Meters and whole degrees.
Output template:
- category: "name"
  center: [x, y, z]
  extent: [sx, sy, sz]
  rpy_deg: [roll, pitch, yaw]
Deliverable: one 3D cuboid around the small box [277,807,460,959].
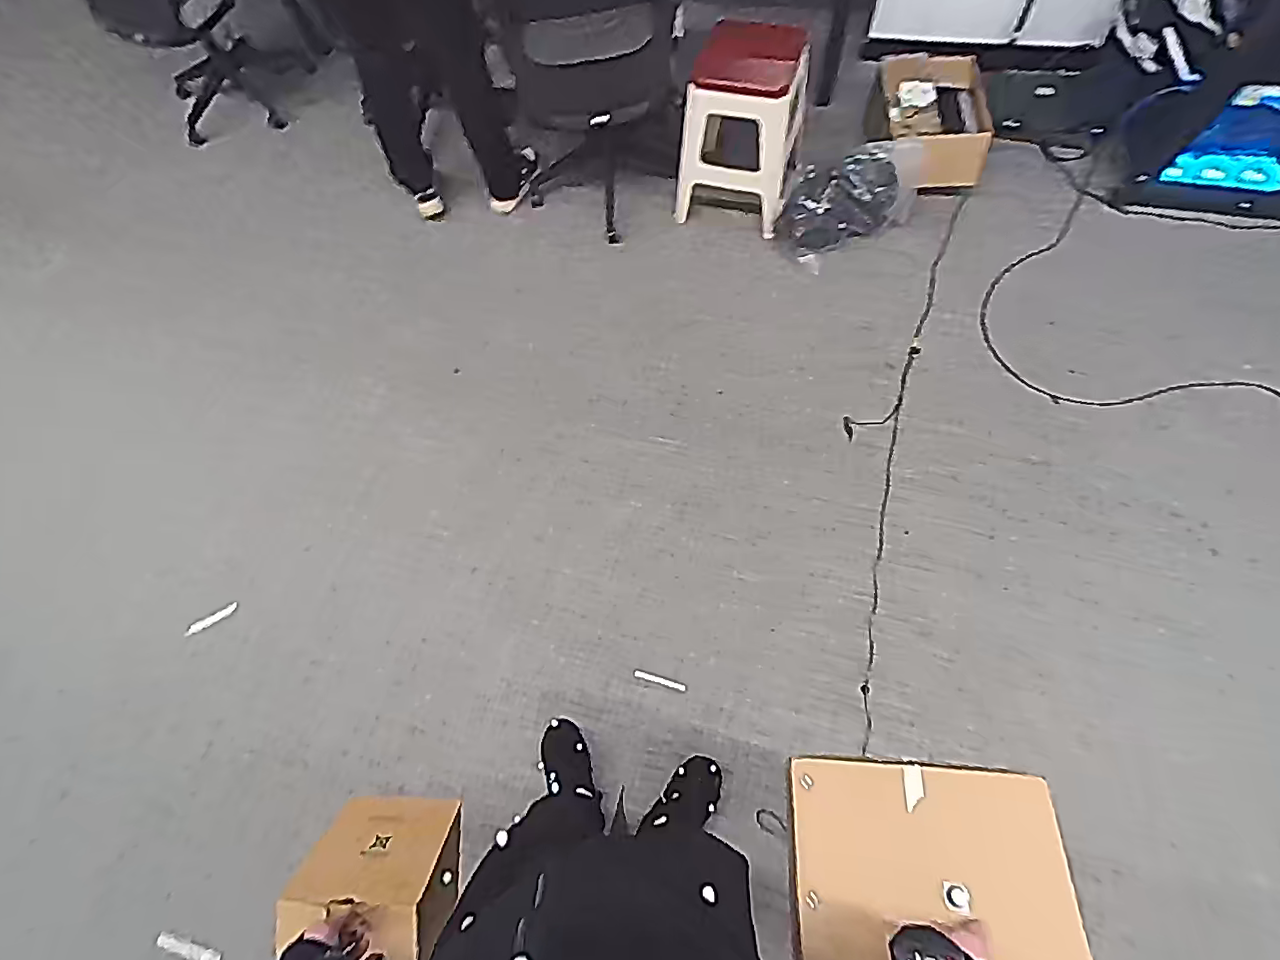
- category: "small box"
  center: [-0.347, 0.575, 0.722]
  extent: [0.168, 0.179, 0.176]
  rpy_deg: [4, 95, -3]
